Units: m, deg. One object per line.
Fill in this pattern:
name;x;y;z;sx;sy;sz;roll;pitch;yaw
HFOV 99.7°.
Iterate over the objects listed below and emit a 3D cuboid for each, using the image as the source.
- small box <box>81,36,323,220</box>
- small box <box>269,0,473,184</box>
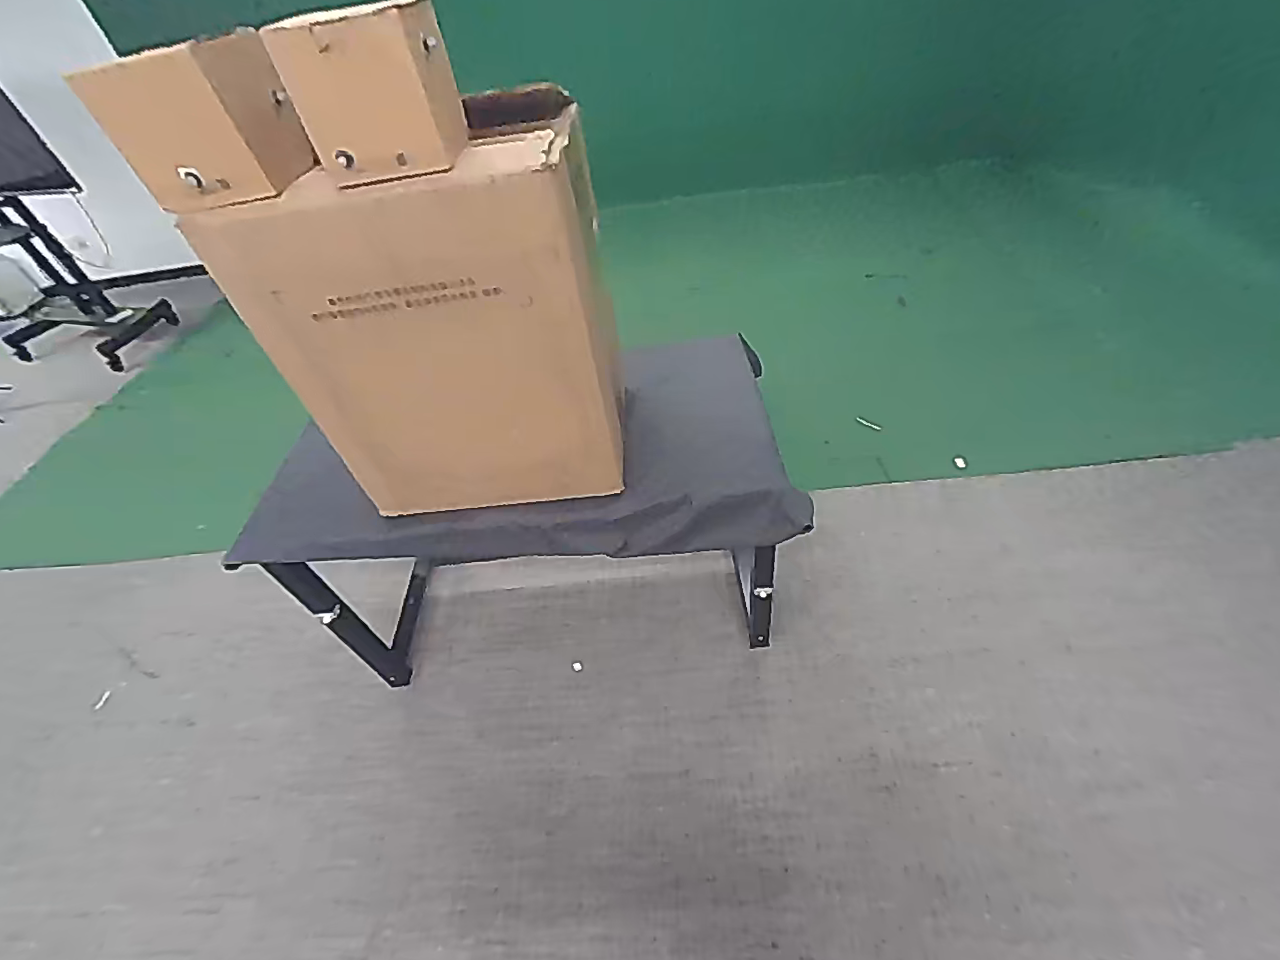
small box;-0.586;-0.491;0.759;0.168;0.176;0.179;-9;46;5
small box;-0.341;-0.517;0.731;0.168;0.176;0.179;-7;45;3
